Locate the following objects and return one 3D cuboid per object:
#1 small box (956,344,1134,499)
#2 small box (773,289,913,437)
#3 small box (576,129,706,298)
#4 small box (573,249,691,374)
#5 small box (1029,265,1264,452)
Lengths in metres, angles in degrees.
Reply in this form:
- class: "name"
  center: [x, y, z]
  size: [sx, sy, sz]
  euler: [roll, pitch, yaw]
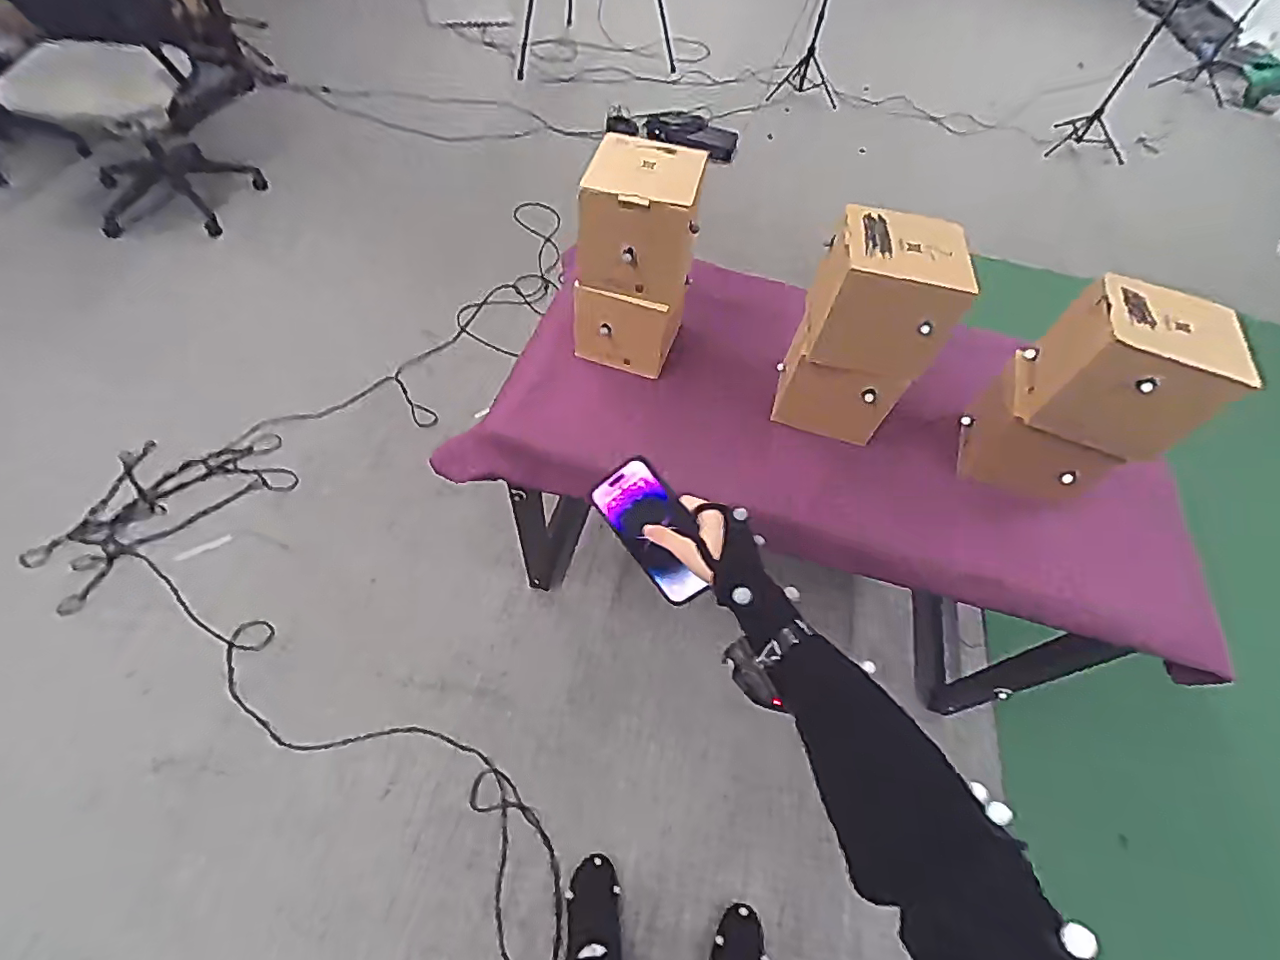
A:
- class: "small box"
  center: [0.672, -0.091, 0.911]
  size: [0.179, 0.176, 0.168]
  euler: [22, 57, 9]
- class: "small box"
  center: [0.352, -0.199, 0.951]
  size: [0.179, 0.176, 0.168]
  euler: [17, 56, 6]
- class: "small box"
  center: [0.001, -0.423, 0.871]
  size: [0.168, 0.176, 0.179]
  euler: [13, 57, 3]
- class: "small box"
  center: [-0.014, -0.325, 1.002]
  size: [0.168, 0.176, 0.179]
  euler: [17, 56, 6]
- class: "small box"
  center: [0.689, -0.167, 0.766]
  size: [0.179, 0.176, 0.168]
  euler: [22, 57, 8]
